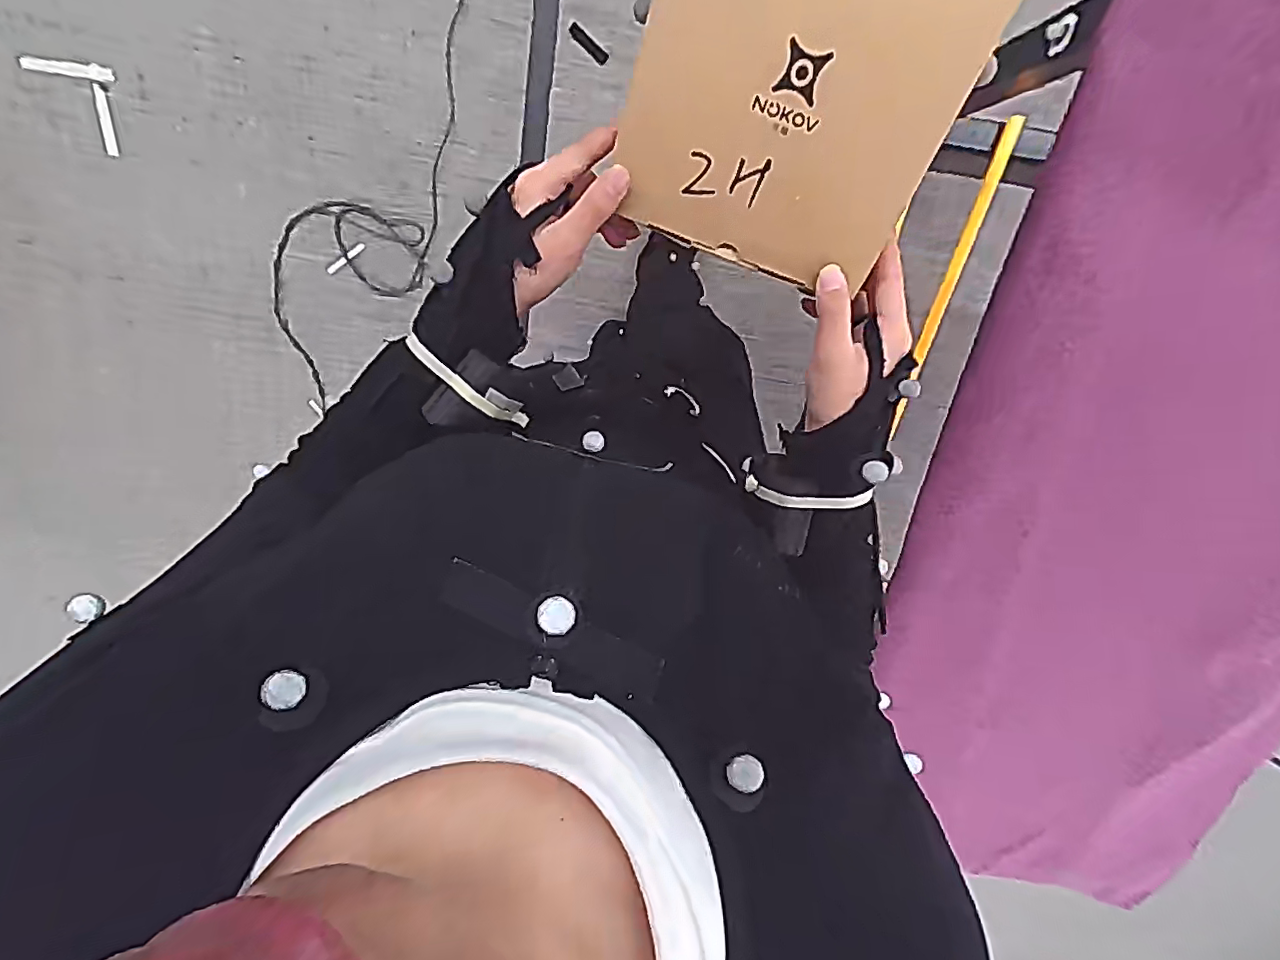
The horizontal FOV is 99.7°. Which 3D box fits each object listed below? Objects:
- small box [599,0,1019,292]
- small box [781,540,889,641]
[{"bbox_3d":[0.090,-0.247,0.333,0.168,0.176,0.179,21,124,-2],"label":"small box"},{"bbox_3d":[0.458,0.260,1.308,0.179,0.176,0.168,9,112,-5],"label":"small box"}]
